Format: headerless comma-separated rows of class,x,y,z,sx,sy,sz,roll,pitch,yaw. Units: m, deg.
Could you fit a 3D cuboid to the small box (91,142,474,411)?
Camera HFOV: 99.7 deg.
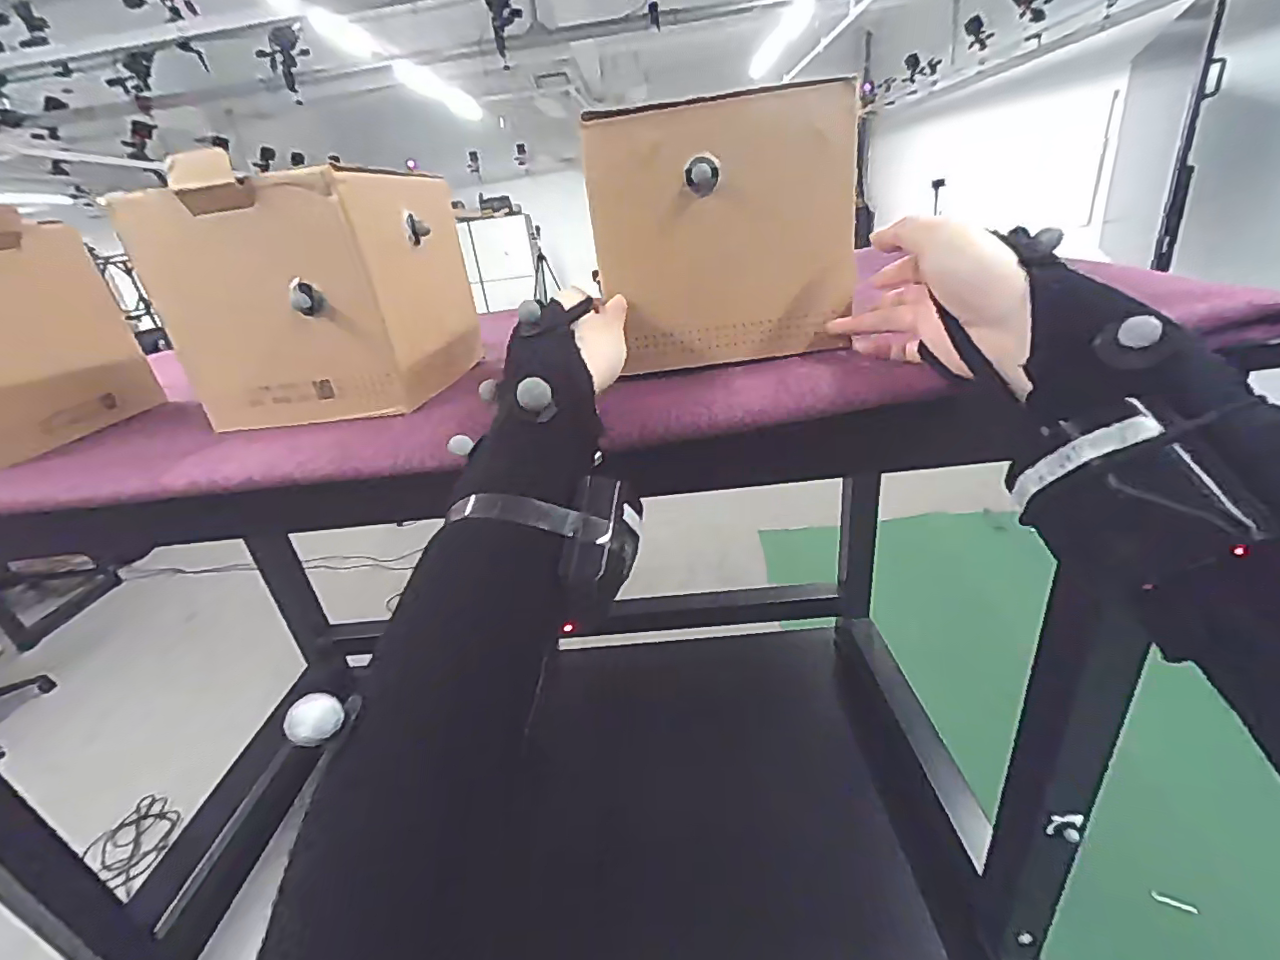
small box,-0.254,-0.158,0.442,0.168,0.176,0.179,-4,26,6

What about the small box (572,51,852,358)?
small box,0.056,-0.199,0.430,0.179,0.176,0.168,-6,24,4
